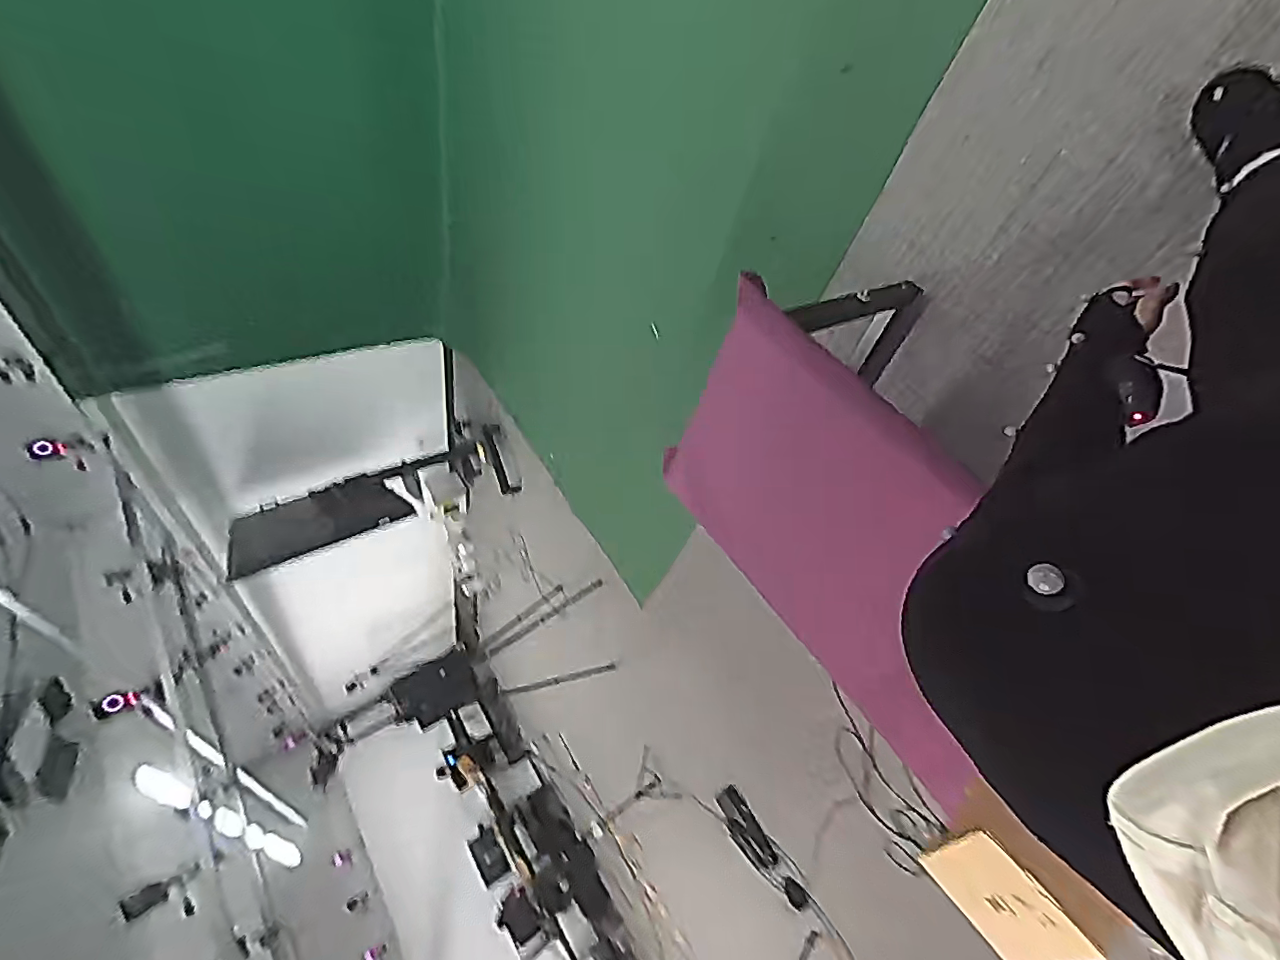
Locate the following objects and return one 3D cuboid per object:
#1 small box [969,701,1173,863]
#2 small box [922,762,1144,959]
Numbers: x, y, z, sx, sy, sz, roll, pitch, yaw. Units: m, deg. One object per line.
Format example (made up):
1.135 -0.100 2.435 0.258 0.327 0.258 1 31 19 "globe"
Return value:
0.684 0.492 0.864 0.168 0.176 0.179 48 142 30 "small box"
0.558 0.548 0.774 0.168 0.176 0.179 47 142 31 "small box"
